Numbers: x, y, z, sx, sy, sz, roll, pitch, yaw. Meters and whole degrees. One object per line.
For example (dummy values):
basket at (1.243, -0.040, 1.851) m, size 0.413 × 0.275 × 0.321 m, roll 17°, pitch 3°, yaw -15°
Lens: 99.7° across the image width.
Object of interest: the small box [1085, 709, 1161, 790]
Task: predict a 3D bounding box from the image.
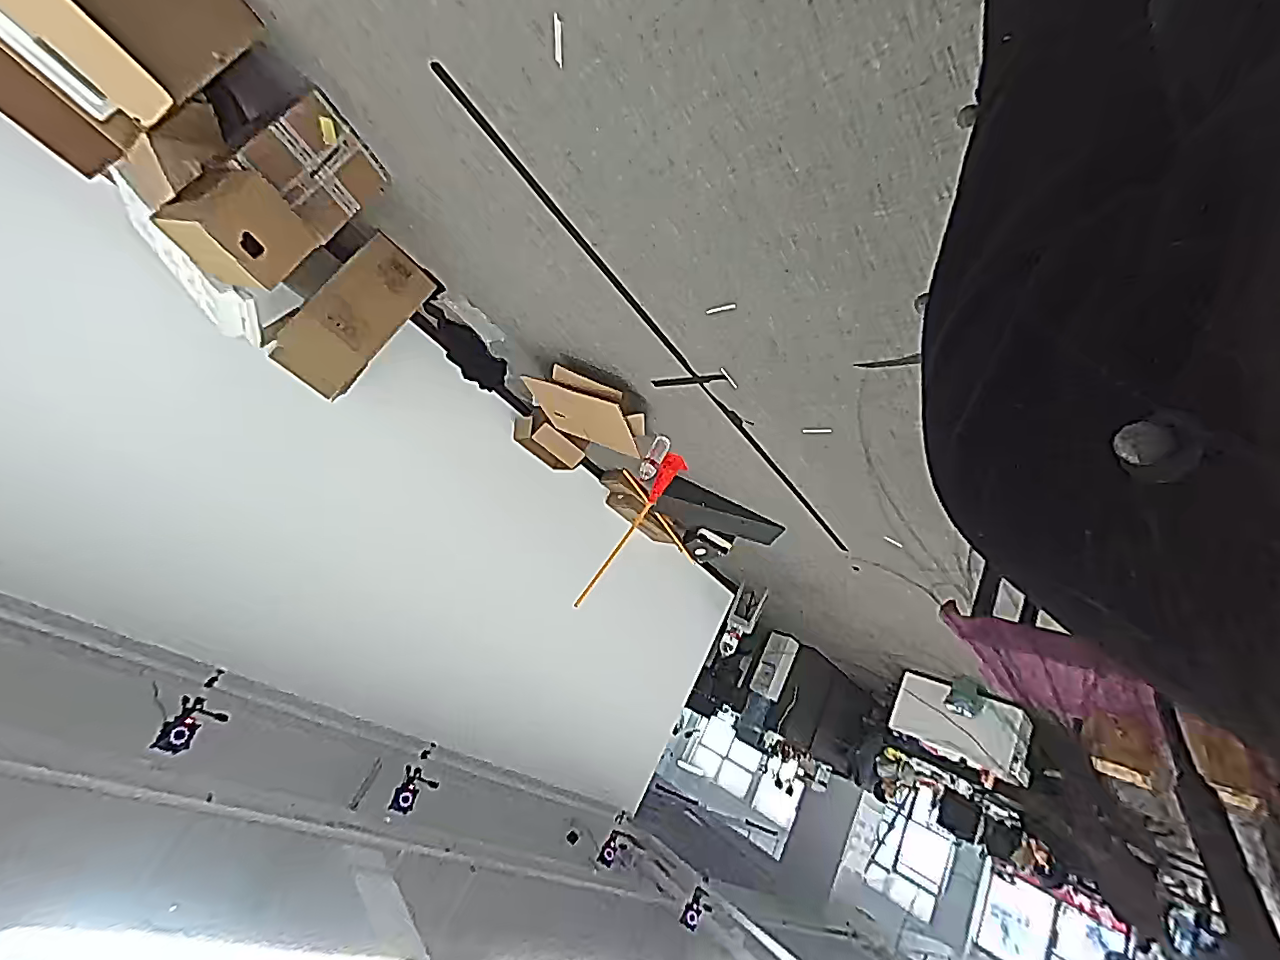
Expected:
small box at (1.651, 0.914, 1.845) m, size 0.168 × 0.176 × 0.179 m, roll 5°, pitch 148°, yaw 50°

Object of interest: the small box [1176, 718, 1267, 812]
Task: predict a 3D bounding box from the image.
small box at (1.669, 0.812, 1.556) m, size 0.168 × 0.176 × 0.179 m, roll 7°, pitch 152°, yaw 50°
